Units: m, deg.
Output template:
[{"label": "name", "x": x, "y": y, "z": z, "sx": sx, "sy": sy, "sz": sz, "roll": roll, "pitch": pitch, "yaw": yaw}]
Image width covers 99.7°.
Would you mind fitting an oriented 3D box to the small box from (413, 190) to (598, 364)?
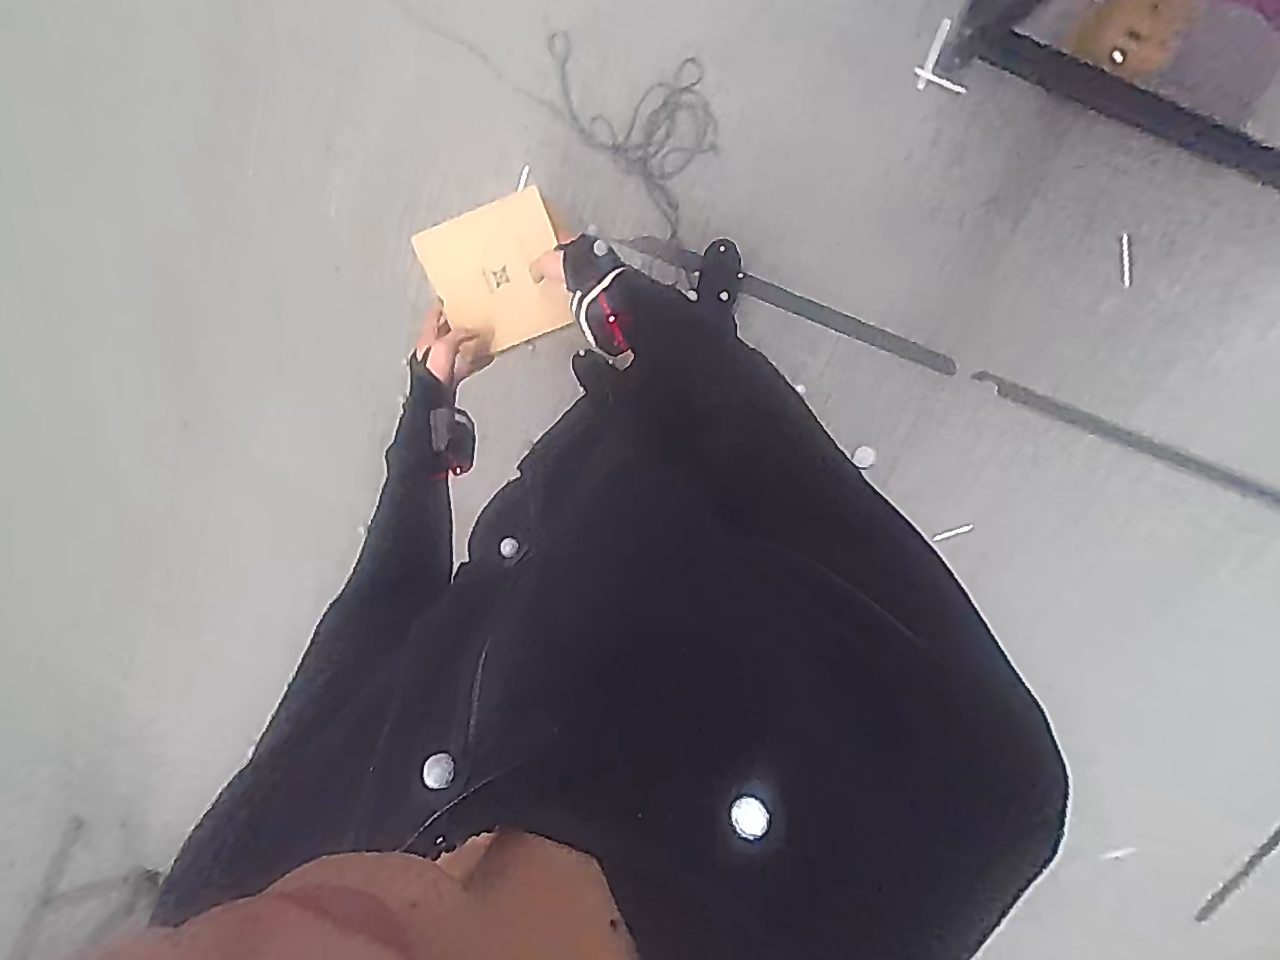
[{"label": "small box", "x": -0.172, "y": -0.272, "z": 0.753, "sx": 0.179, "sy": 0.176, "sz": 0.168, "roll": -18, "pitch": 105, "yaw": 8}]
